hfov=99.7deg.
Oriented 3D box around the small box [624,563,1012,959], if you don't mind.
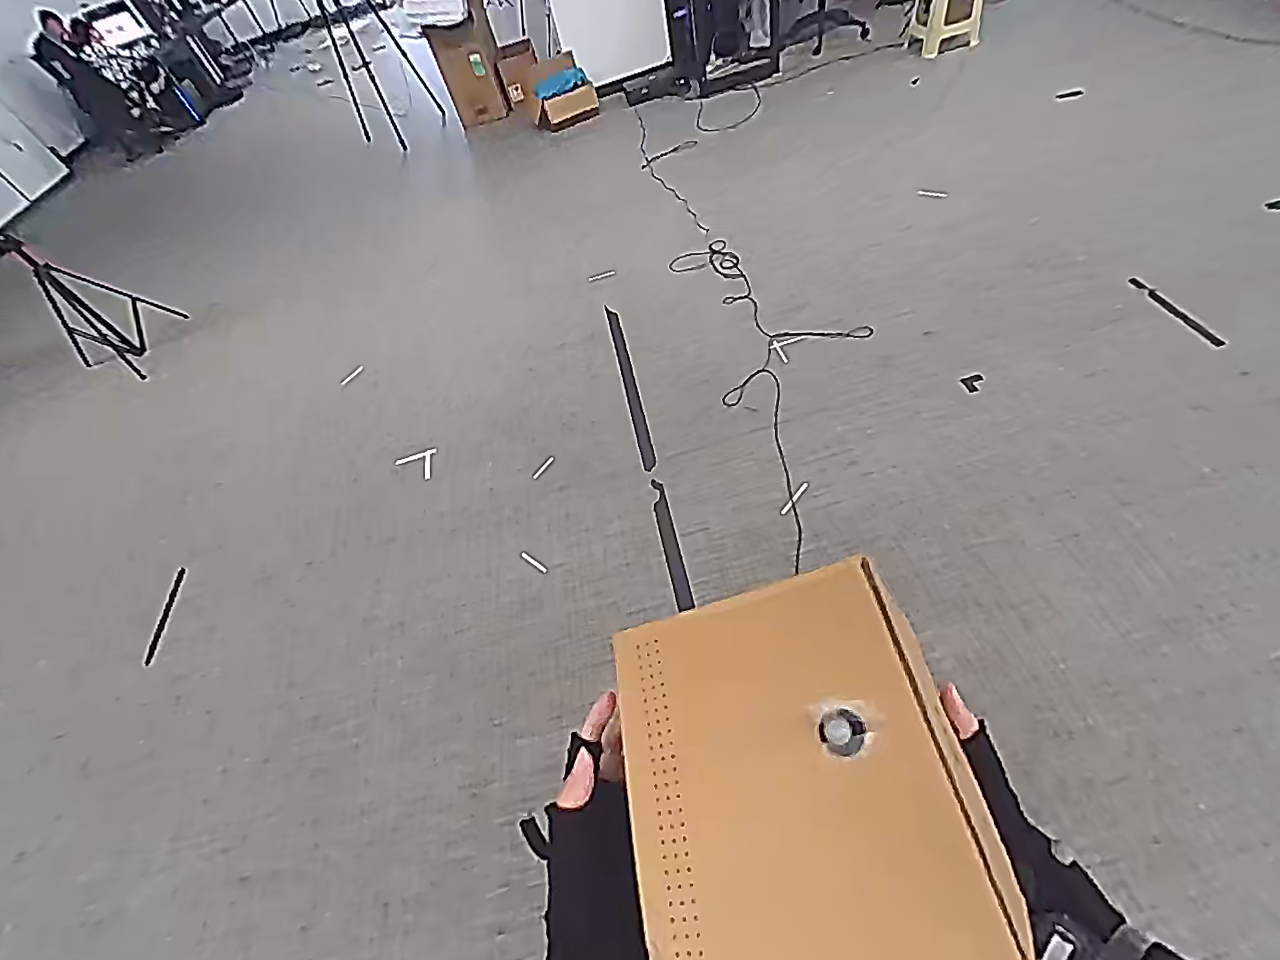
[{"bbox_3d":[0.102,0.182,0.345,0.176,0.168,0.179,-24,53,21],"label":"small box"}]
